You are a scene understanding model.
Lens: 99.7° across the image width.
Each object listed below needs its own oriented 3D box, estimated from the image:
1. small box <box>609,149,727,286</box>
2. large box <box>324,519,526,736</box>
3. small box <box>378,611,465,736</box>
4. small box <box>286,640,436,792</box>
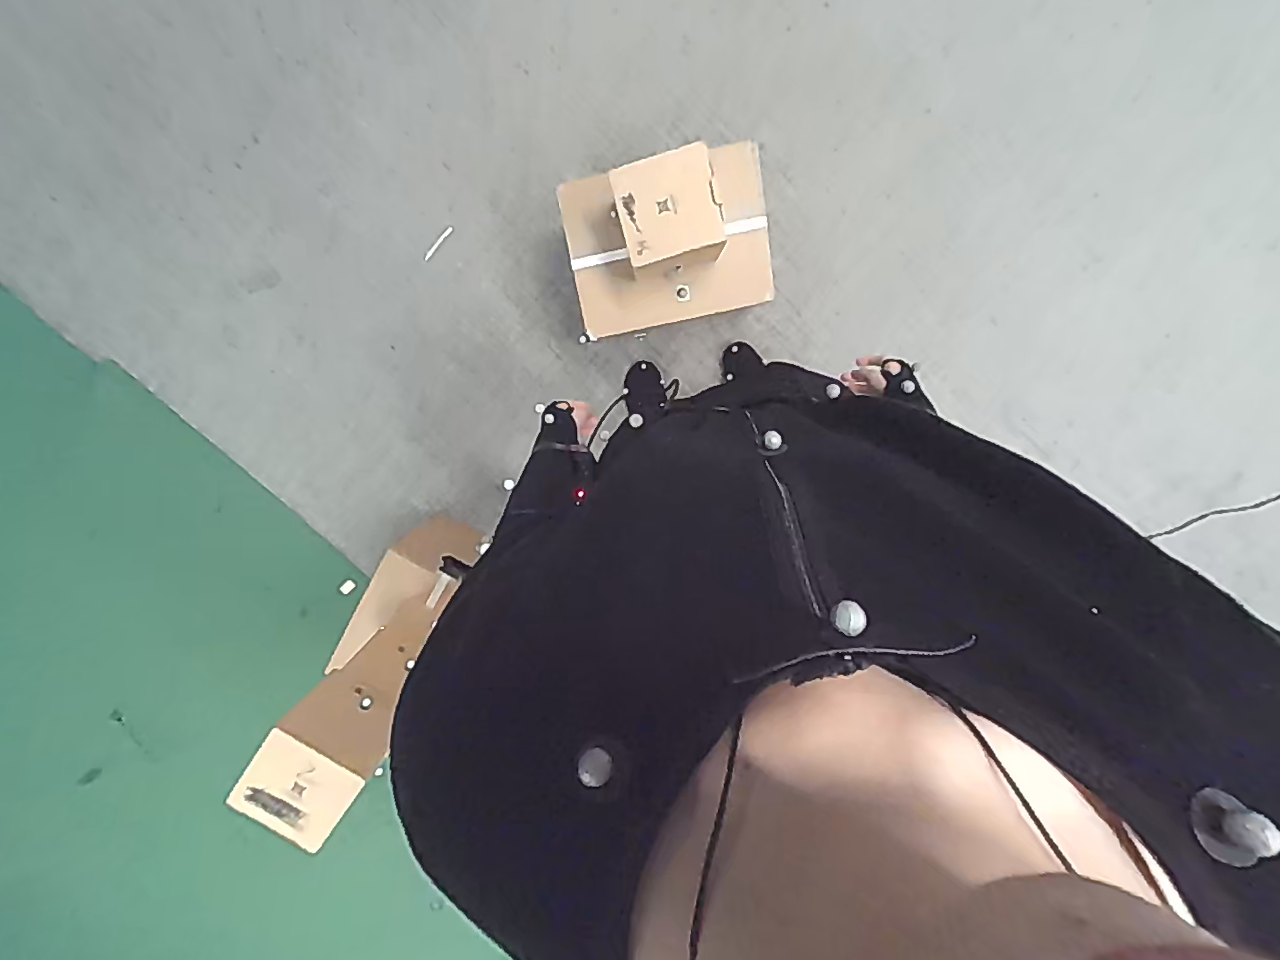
[{"bbox_3d":[0.049,-0.476,1.005,0.179,0.176,0.168,-15,100,4],"label":"small box"},{"bbox_3d":[-0.561,0.380,1.468,0.320,0.320,0.408,31,103,-4],"label":"large box"},{"bbox_3d":[-0.528,0.428,1.226,0.179,0.176,0.168,36,101,-6],"label":"small box"},{"bbox_3d":[-0.536,0.456,1.066,0.168,0.176,0.179,37,100,-7],"label":"small box"}]
